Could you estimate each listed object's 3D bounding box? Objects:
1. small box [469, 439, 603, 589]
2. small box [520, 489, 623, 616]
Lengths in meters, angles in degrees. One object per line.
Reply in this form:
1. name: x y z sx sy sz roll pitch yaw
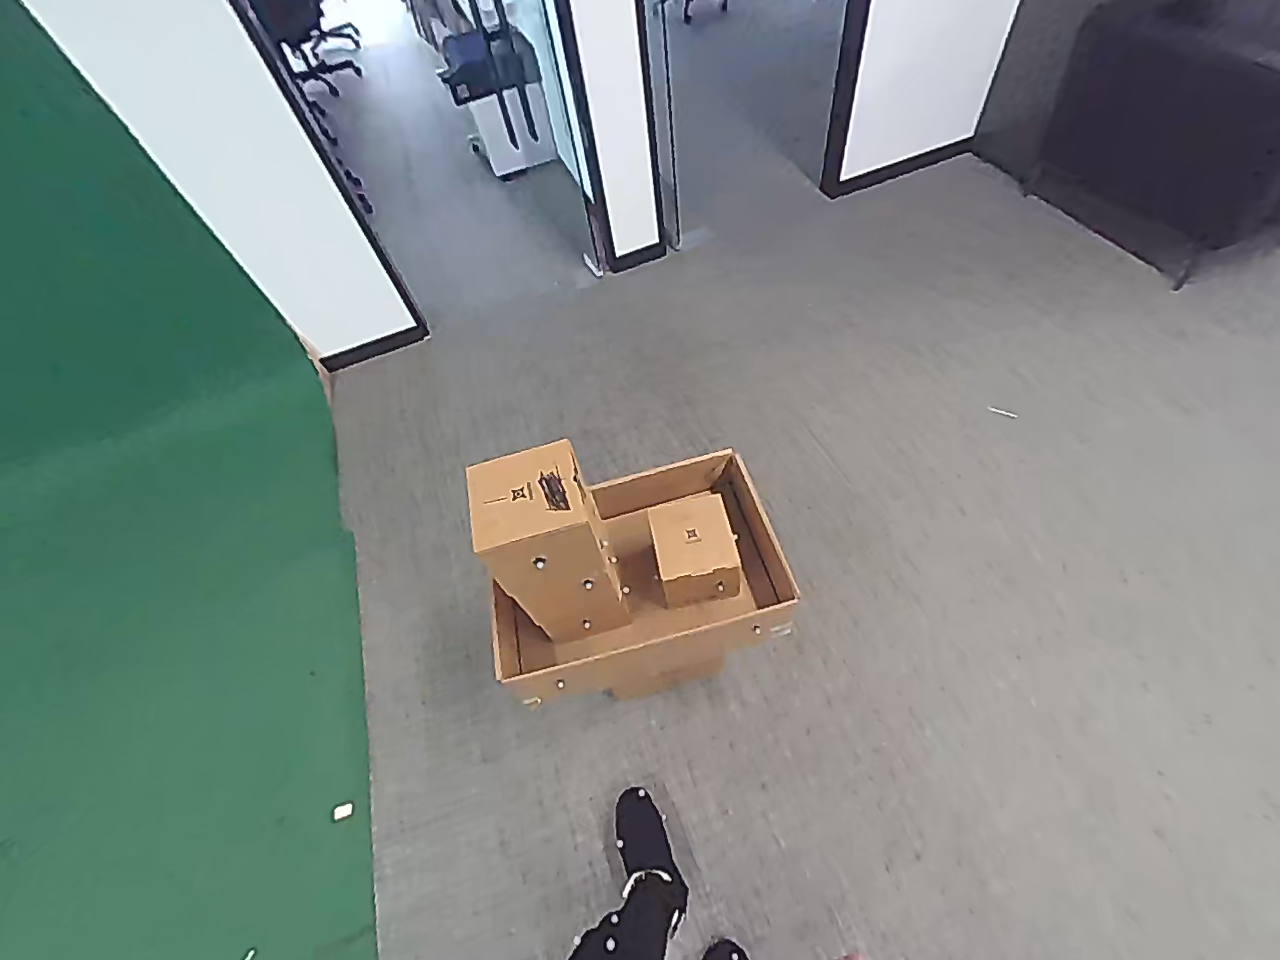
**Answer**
1. small box: -0.168 0.062 0.911 0.179 0.176 0.168 -17 56 -1
2. small box: -0.144 0.146 1.050 0.179 0.176 0.168 -15 56 -1
